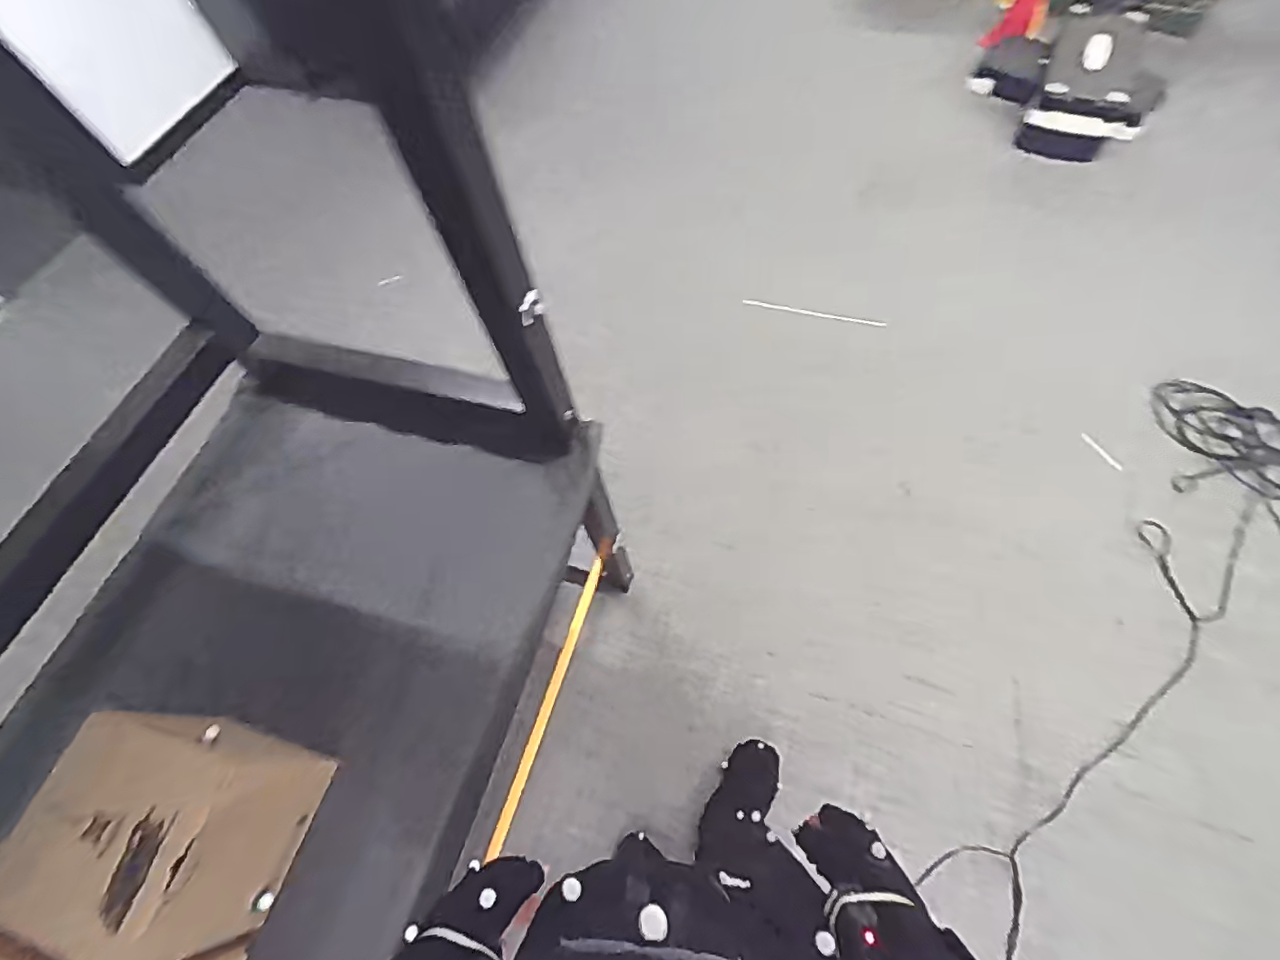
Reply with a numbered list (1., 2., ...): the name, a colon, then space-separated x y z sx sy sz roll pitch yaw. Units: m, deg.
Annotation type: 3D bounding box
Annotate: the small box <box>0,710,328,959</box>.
1. small box: -0.470 0.349 0.555 0.179 0.176 0.168 12 65 13
